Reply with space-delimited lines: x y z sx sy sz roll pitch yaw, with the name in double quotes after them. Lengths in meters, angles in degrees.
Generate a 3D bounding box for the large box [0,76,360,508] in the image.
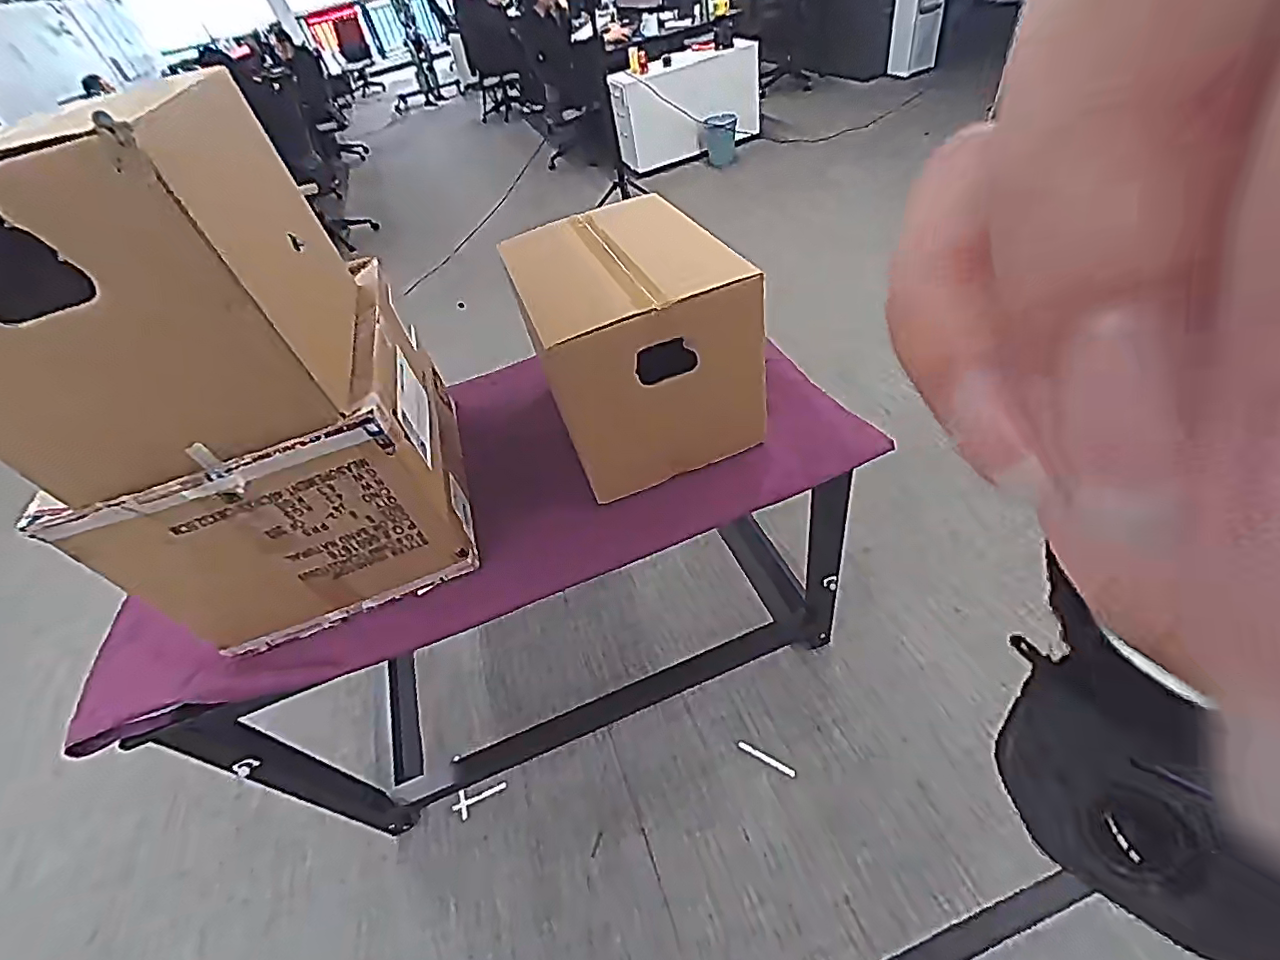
-0.571 -0.244 0.659 0.320 0.320 0.408 -23 46 -6 "large box"
